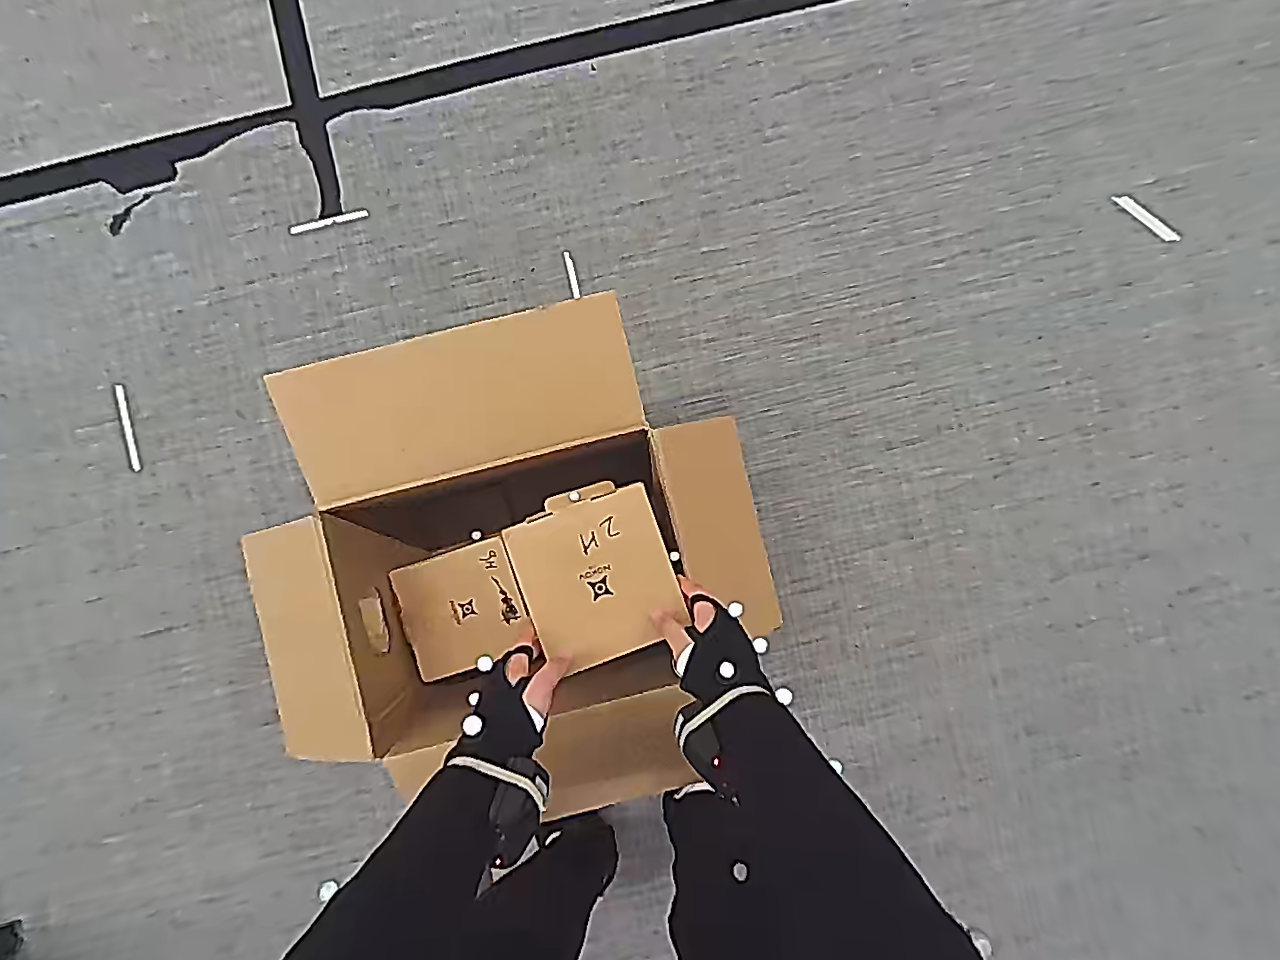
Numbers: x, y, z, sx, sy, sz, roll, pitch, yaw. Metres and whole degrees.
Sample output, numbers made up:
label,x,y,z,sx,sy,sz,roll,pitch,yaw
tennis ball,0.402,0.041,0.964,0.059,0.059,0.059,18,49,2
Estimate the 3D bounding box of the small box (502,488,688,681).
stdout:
label,x,y,z,sx,sy,sz,roll,pitch,yaw
small box,-0.052,0.115,0.673,0.168,0.176,0.179,-19,90,-4
